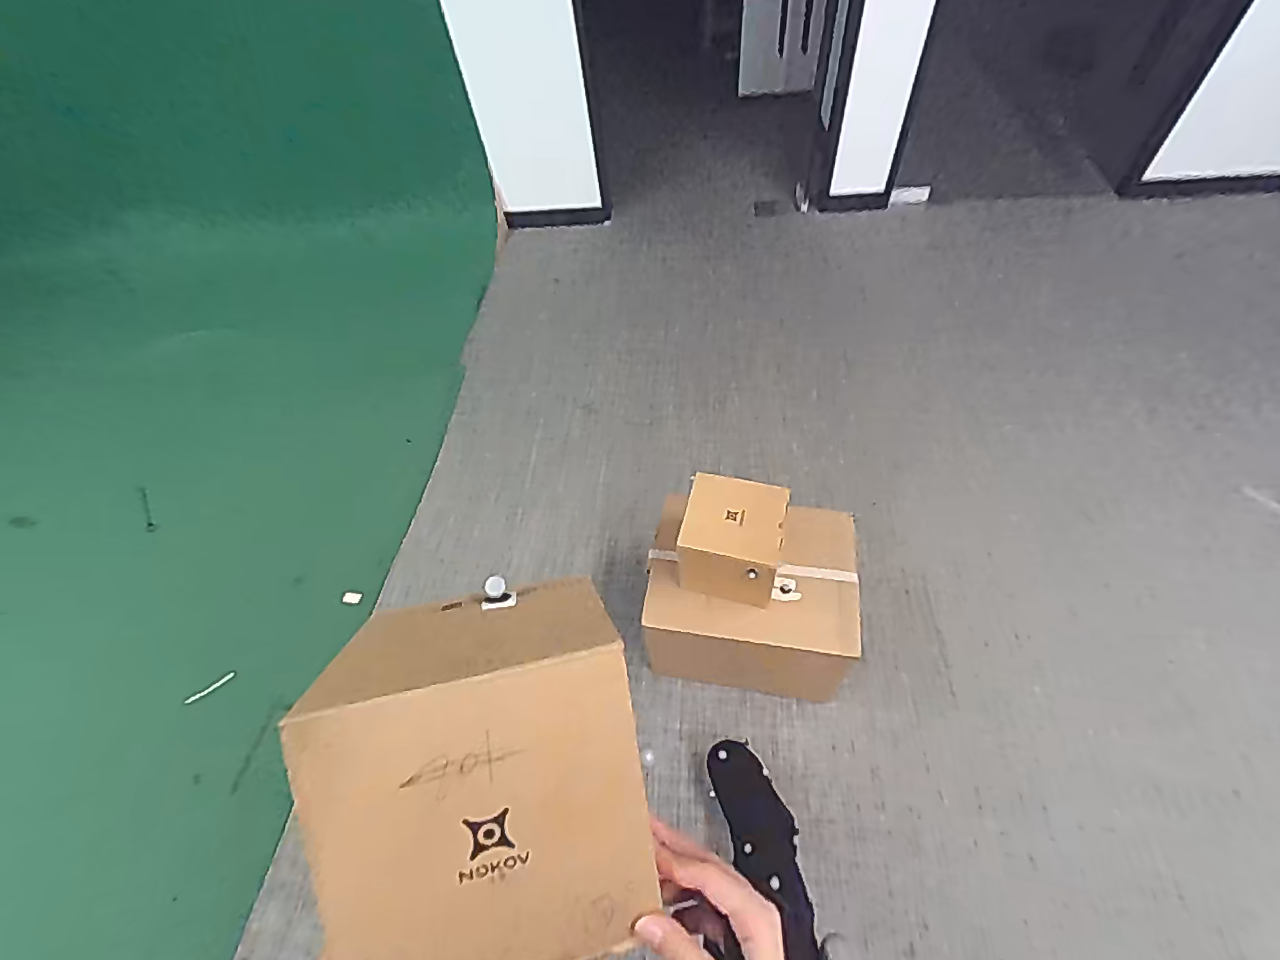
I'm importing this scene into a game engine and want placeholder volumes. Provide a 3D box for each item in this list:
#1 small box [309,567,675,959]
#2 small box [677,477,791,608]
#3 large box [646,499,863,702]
[{"bbox_3d":[-0.086,0.172,0.360,0.168,0.176,0.179,-10,95,-12],"label":"small box"},{"bbox_3d":[0.174,0.120,1.010,0.179,0.176,0.168,11,55,13],"label":"small box"},{"bbox_3d":[0.237,0.269,1.197,0.408,0.320,0.320,6,55,9],"label":"large box"}]
